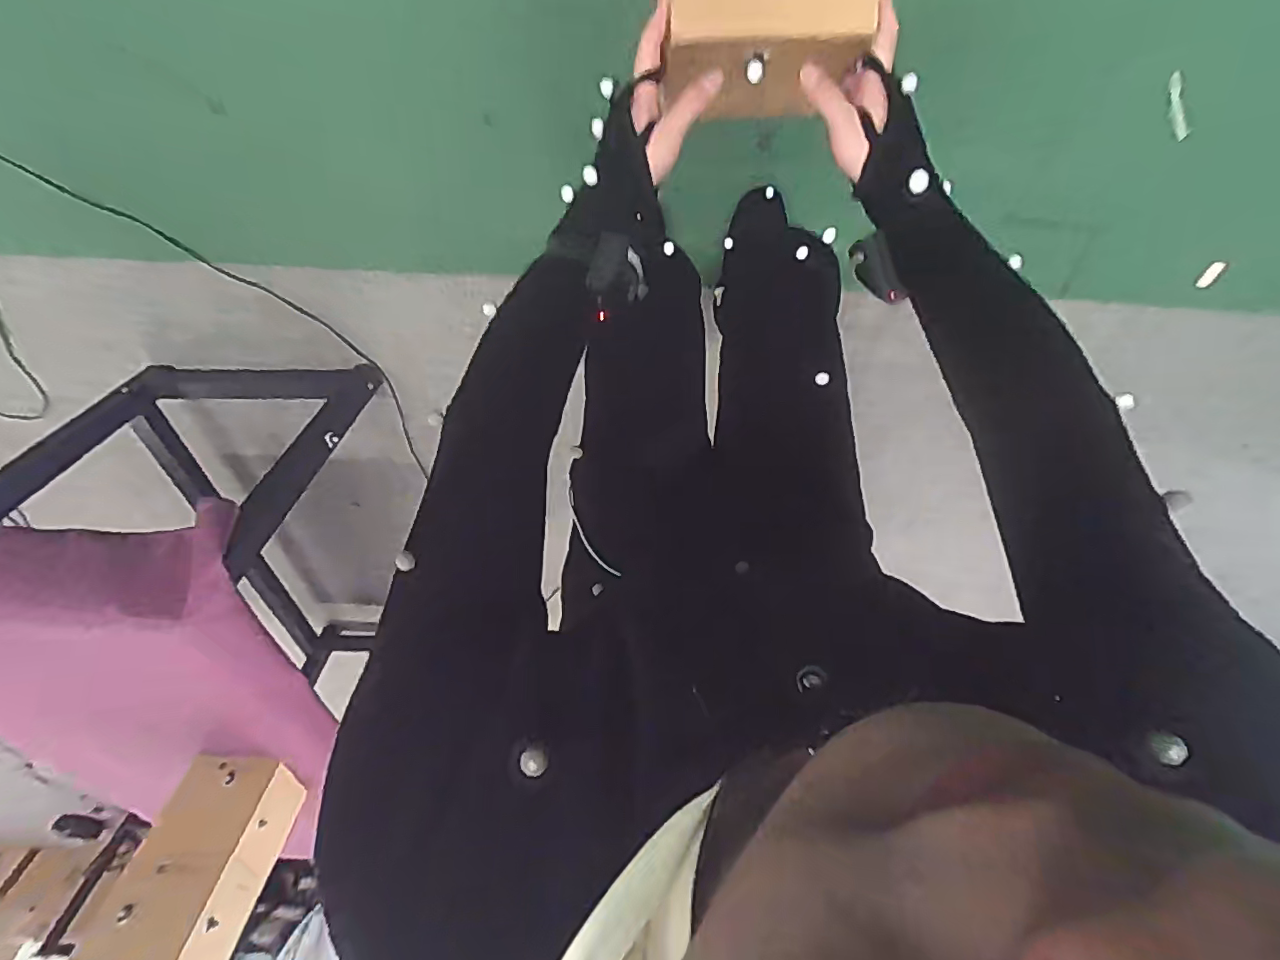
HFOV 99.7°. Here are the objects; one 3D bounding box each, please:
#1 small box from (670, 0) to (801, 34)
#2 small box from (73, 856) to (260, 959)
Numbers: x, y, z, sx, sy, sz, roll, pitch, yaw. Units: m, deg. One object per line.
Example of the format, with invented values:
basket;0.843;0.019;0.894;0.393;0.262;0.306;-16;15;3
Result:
small box;0.132;-0.743;0.764;0.179;0.176;0.168;0;130;3
small box;-0.812;0.778;0.938;0.168;0.176;0.179;6;130;-1
